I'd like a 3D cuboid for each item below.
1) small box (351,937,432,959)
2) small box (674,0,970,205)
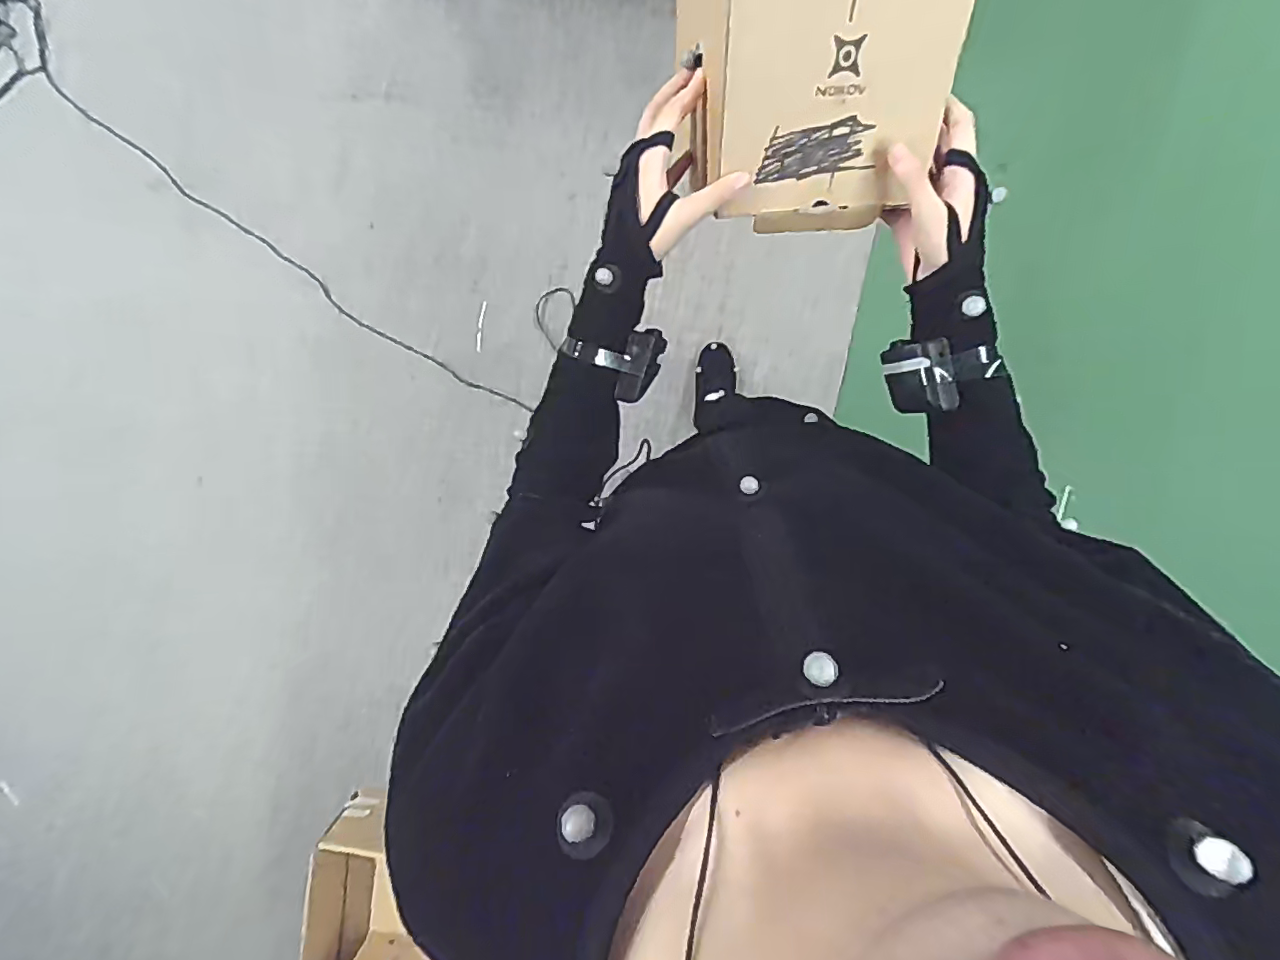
[{"bbox_3d":[-0.559,1.129,1.150,0.168,0.176,0.179,5,93,2],"label":"small box"},{"bbox_3d":[0.123,-0.334,0.425,0.168,0.176,0.179,-6,129,-6],"label":"small box"}]
